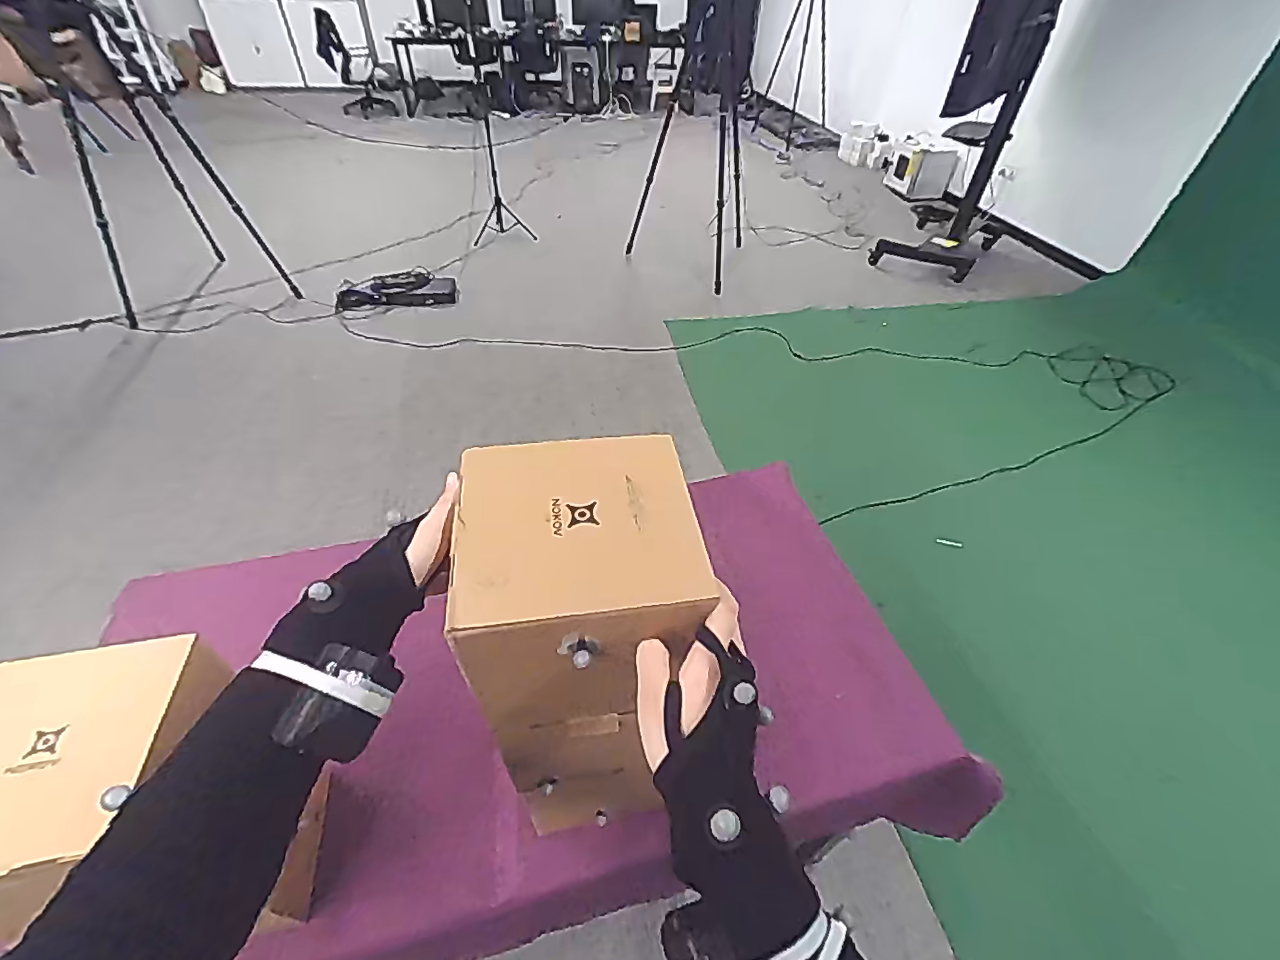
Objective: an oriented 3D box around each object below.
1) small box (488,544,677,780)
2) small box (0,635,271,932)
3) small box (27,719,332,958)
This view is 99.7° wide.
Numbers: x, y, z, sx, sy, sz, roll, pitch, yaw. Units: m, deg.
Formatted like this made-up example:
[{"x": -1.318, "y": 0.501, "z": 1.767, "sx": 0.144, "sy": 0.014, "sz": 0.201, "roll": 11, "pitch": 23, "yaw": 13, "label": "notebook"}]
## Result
[{"x": -0.060, "y": 0.195, "z": 0.571, "sx": 0.168, "sy": 0.176, "sz": 0.179, "roll": -6, "pitch": 44, "yaw": -8, "label": "small box"}, {"x": -0.470, "y": 0.270, "z": 0.487, "sx": 0.168, "sy": 0.176, "sz": 0.179, "roll": -8, "pitch": 46, "yaw": -9, "label": "small box"}, {"x": -0.469, "y": 0.393, "z": 0.595, "sx": 0.179, "sy": 0.176, "sz": 0.168, "roll": -8, "pitch": 44, "yaw": -10, "label": "small box"}]
